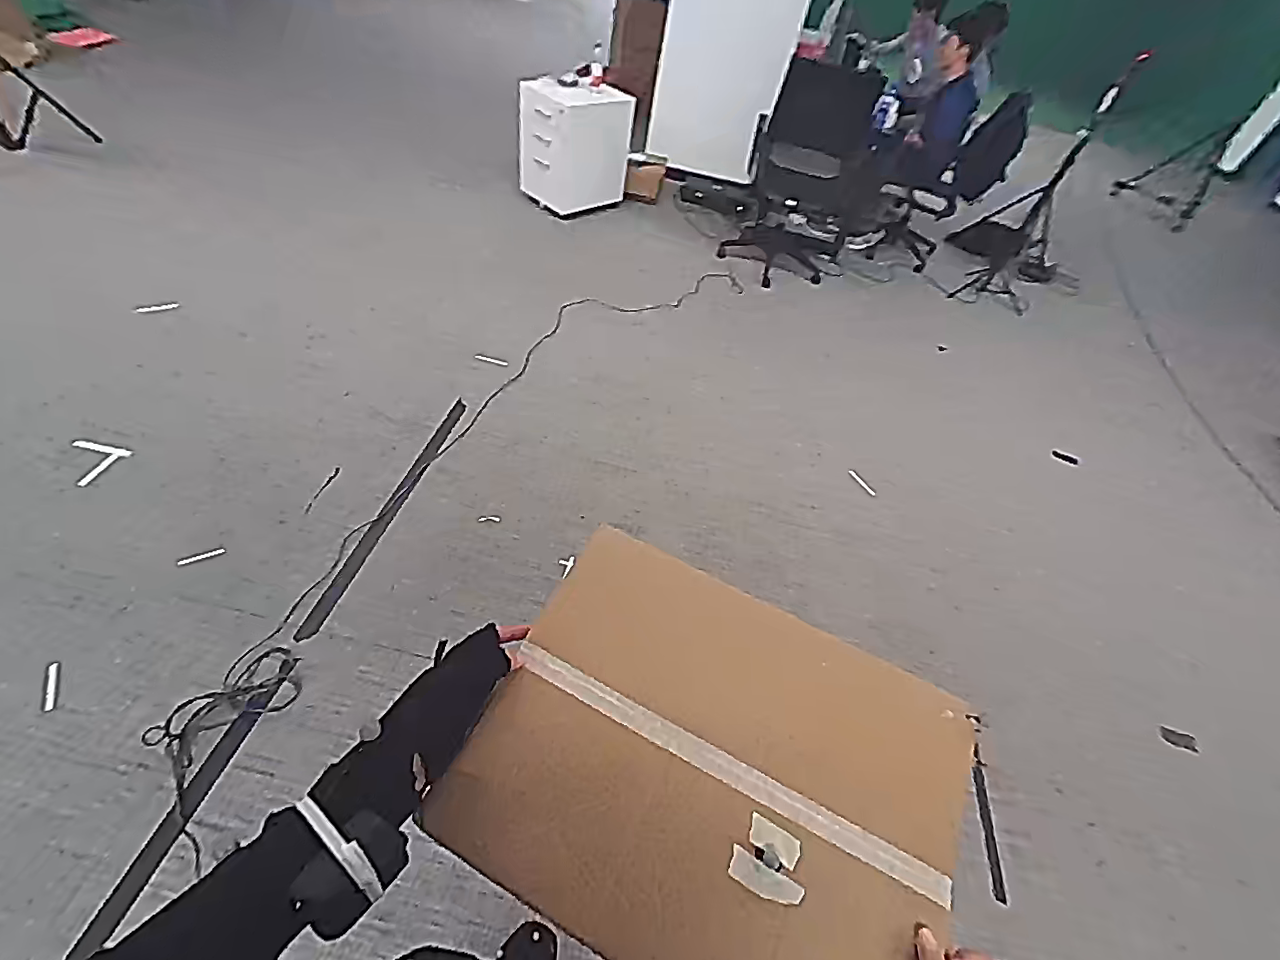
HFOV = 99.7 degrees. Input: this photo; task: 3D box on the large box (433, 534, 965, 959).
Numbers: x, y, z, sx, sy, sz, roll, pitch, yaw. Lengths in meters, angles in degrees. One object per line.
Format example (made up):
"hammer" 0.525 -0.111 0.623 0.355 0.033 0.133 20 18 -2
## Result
"large box" 0.059 0.328 0.608 0.408 0.320 0.320 26 60 12
